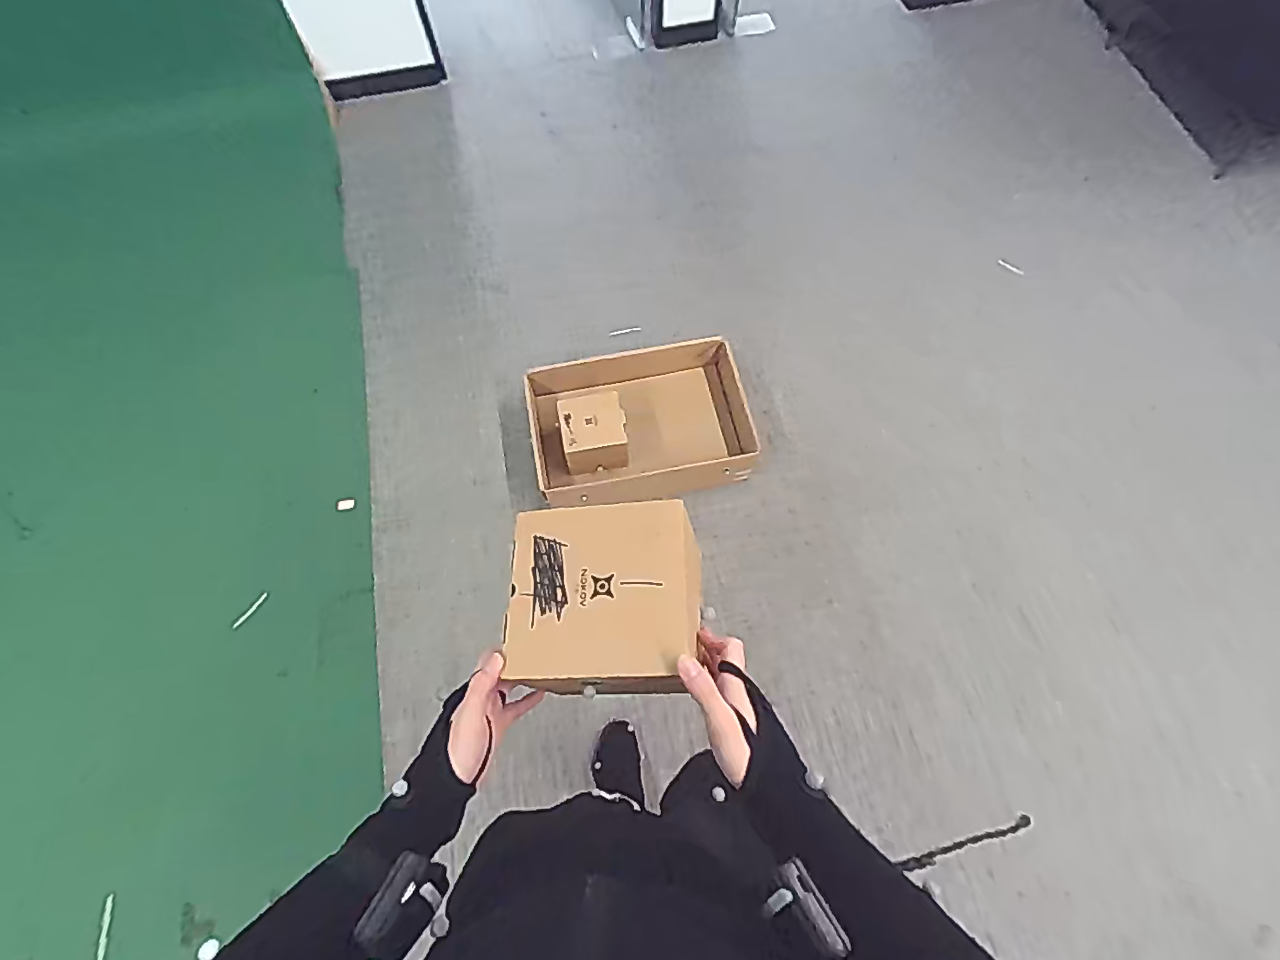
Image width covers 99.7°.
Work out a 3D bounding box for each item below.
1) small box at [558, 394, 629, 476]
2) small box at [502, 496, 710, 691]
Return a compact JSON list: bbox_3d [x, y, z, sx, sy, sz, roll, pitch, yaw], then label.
[{"bbox_3d":[-0.133,-0.126,1.554,0.179,0.176,0.168,-10,68,-5],"label":"small box"},{"bbox_3d":[-0.022,0.130,0.574,0.179,0.176,0.168,-4,63,10],"label":"small box"}]
